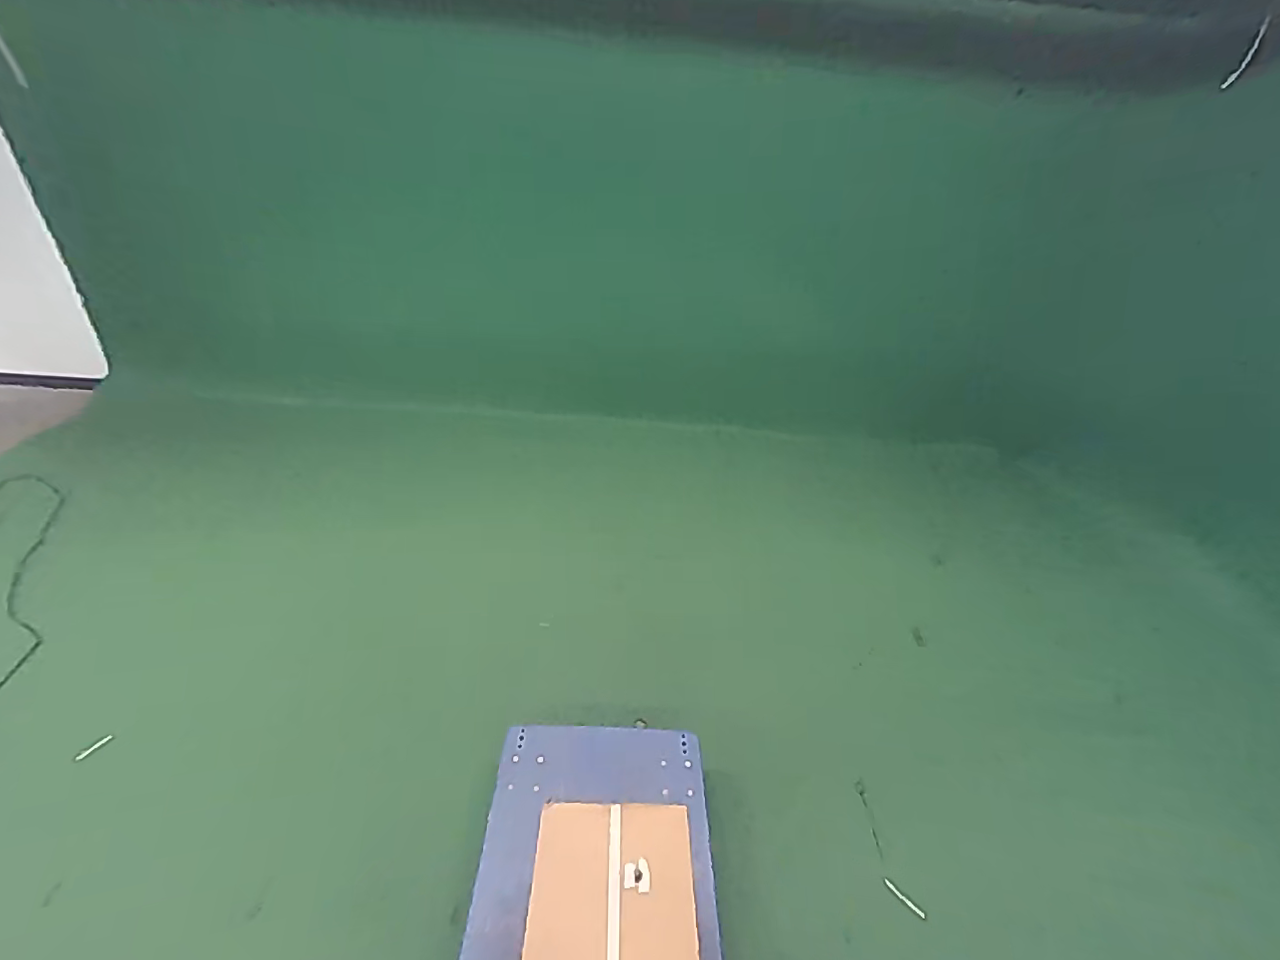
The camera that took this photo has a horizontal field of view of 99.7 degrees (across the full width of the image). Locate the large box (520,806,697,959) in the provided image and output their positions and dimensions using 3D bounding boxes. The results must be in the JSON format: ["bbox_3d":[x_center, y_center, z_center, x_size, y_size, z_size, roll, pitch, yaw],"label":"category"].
[{"bbox_3d":[-0.066,0.935,1.068,0.320,0.320,0.408,4,31,-4],"label":"large box"}]
